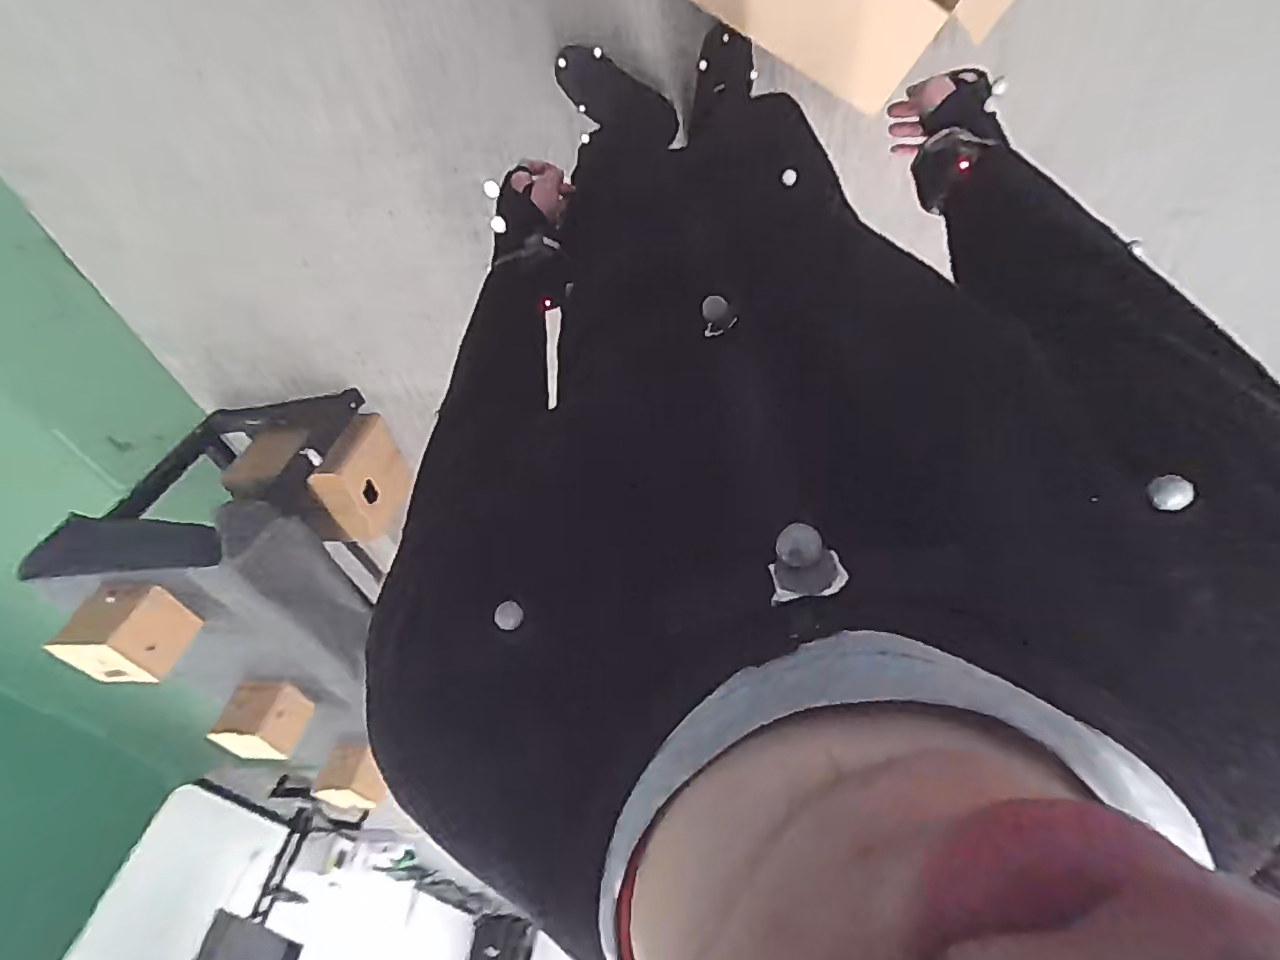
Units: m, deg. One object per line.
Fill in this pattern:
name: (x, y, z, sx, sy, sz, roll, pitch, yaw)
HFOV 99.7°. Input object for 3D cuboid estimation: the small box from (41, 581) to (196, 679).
small box: (-1.249, 0.364, 1.315, 0.168, 0.176, 0.179, -2, 133, 7)

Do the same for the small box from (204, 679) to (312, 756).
small box: (-1.156, 0.723, 1.653, 0.168, 0.176, 0.179, -2, 134, 9)

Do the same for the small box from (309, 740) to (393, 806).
small box: (-1.037, 1.054, 1.953, 0.168, 0.176, 0.179, -9, 131, 14)
